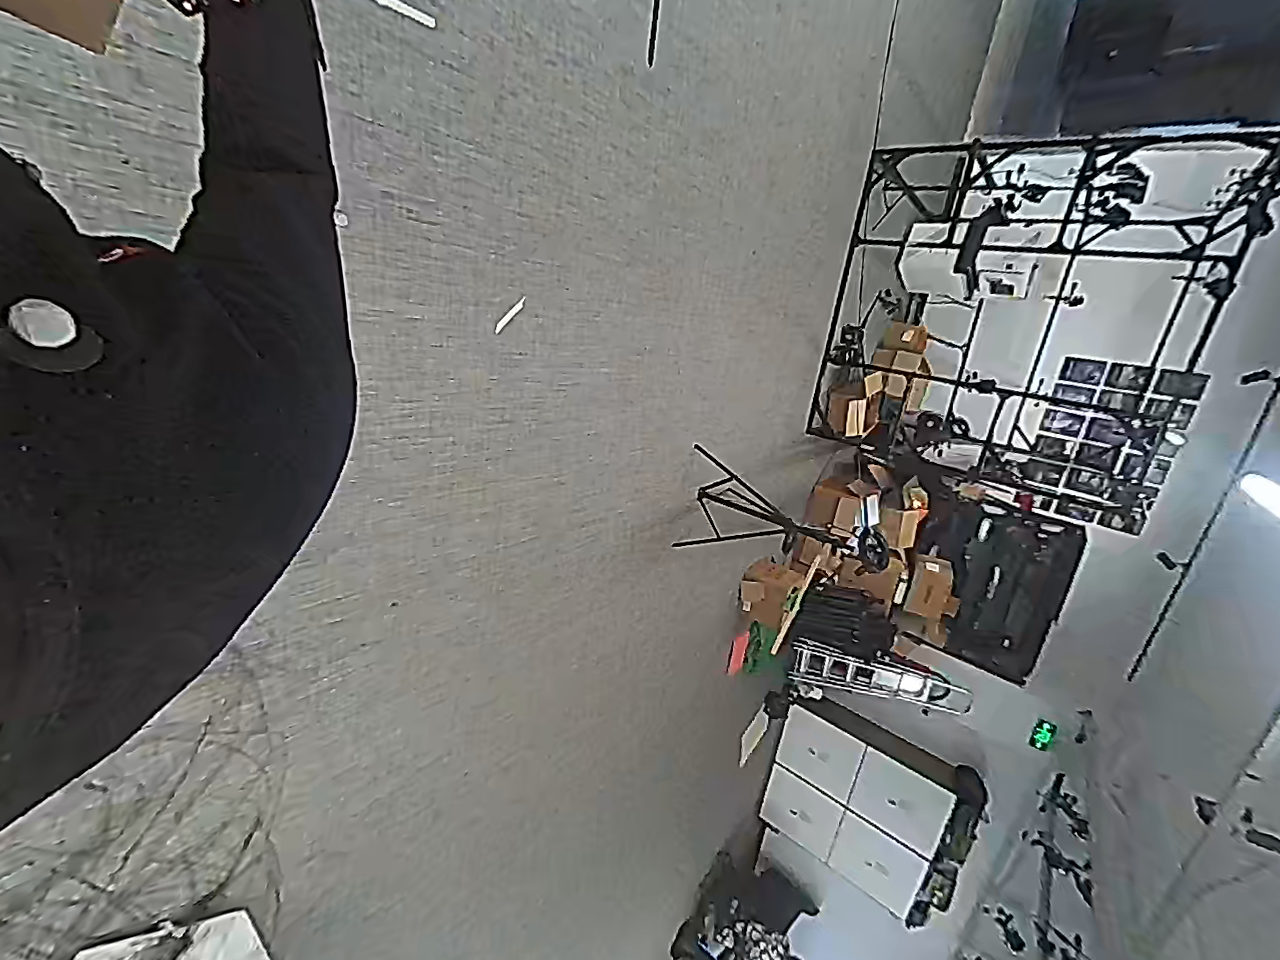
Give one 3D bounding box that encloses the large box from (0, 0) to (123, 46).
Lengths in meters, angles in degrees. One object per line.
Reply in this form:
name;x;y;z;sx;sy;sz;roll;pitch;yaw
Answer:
large box;-0.525;-0.532;0.272;0.408;0.320;0.320;4;106;-50
